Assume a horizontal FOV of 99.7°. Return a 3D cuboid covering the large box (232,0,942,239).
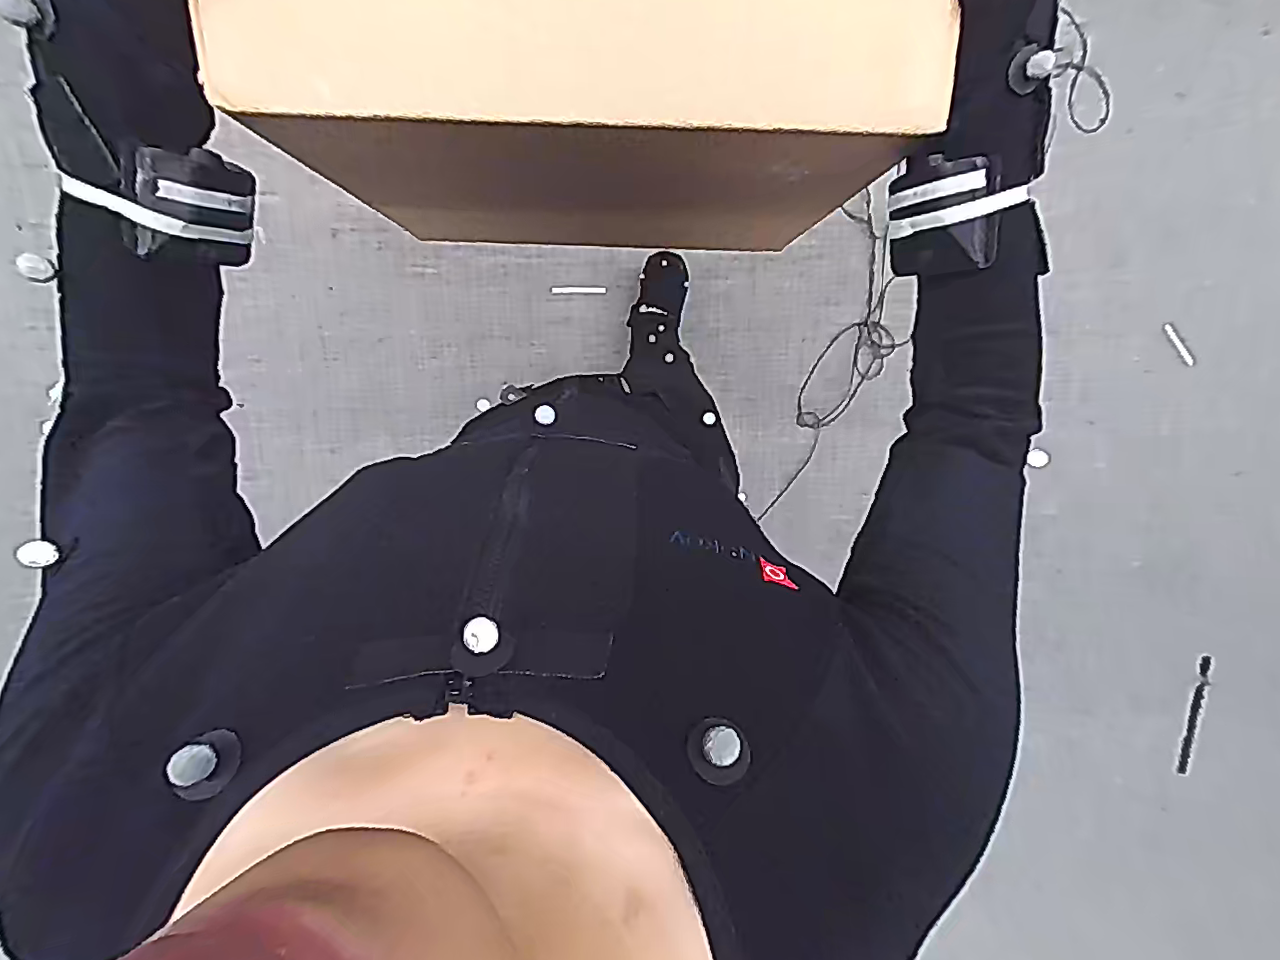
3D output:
[{"bbox_3d":[-0.032,-0.392,0.429,0.408,0.320,0.320,0,102,-3],"label":"large box"}]
